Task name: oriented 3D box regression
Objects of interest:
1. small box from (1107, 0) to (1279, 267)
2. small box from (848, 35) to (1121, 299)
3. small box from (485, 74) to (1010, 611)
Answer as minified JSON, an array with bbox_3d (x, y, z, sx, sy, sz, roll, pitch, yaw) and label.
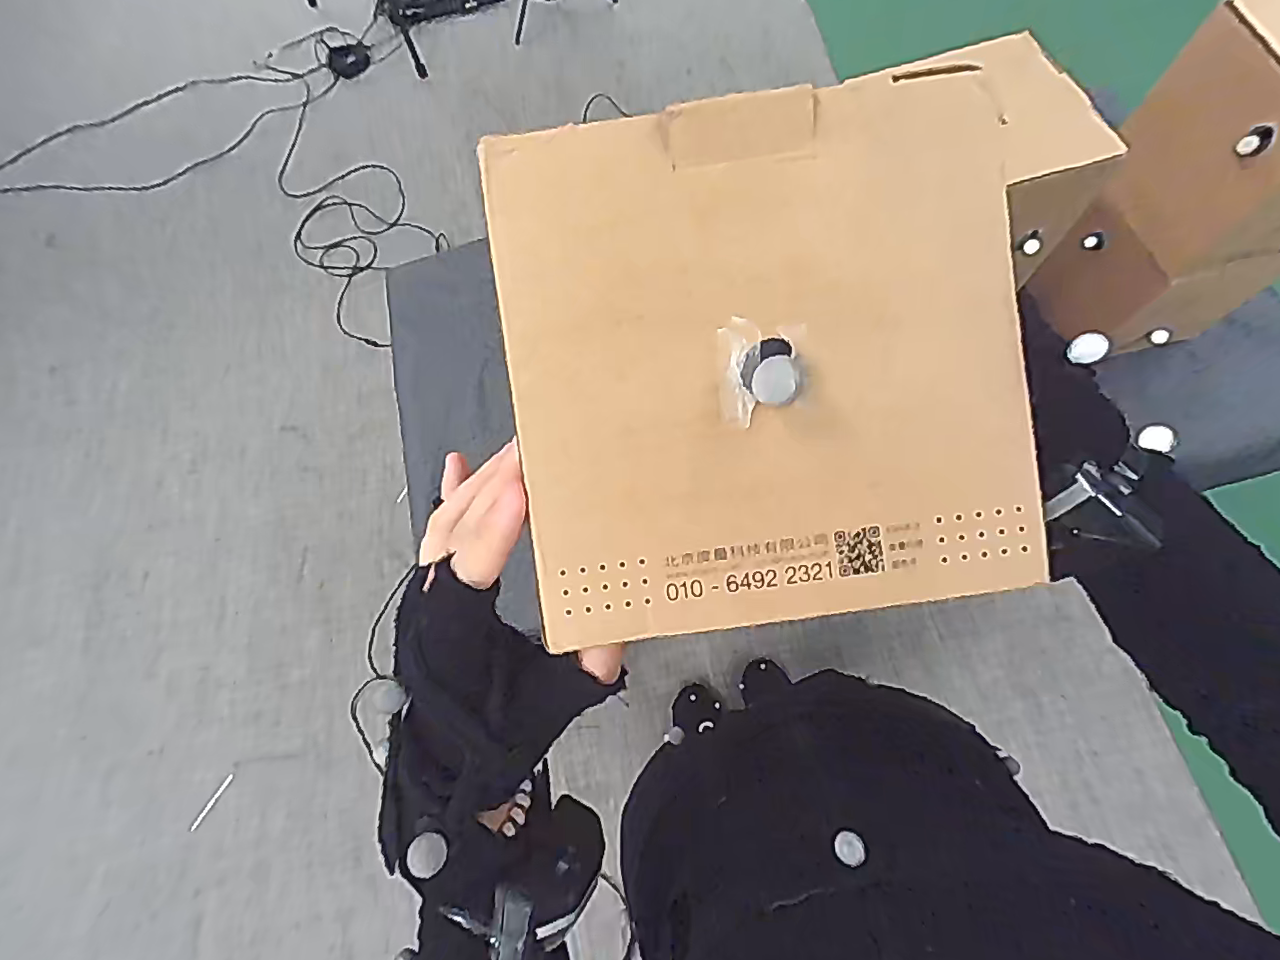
[{"bbox_3d":[0.614,-0.331,0.523,0.168,0.176,0.179,-11,69,2],"label":"small box"},{"bbox_3d":[0.297,-0.283,0.540,0.179,0.176,0.168,-15,68,1],"label":"small box"},{"bbox_3d":[0.041,-0.041,0.260,0.168,0.179,0.176,-7,92,0],"label":"small box"}]
